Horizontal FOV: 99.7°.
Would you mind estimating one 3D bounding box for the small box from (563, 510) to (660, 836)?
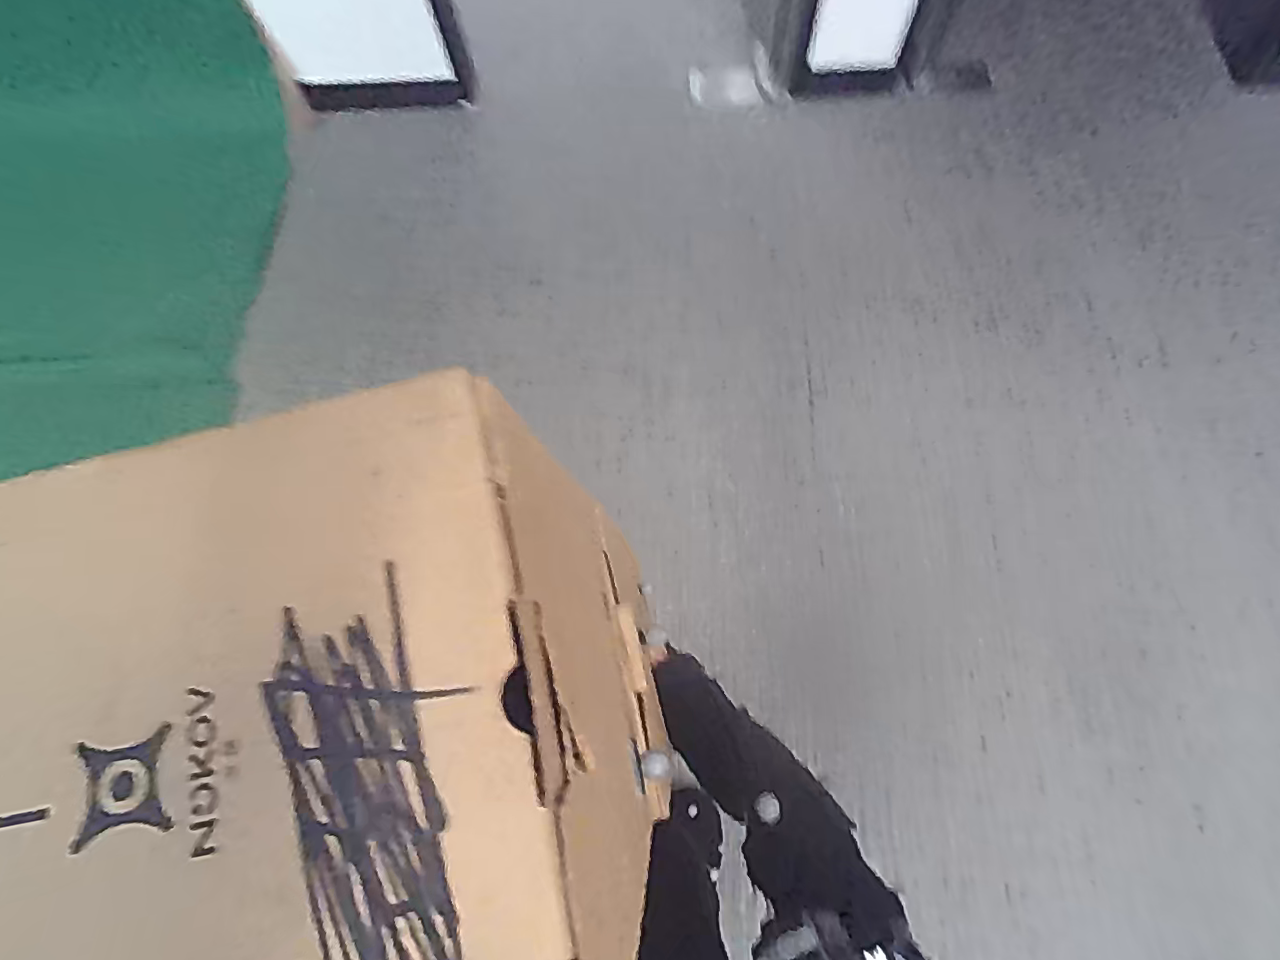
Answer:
[{"bbox_3d":[-0.088,0.127,0.355,0.179,0.176,0.168,-14,76,1],"label":"small box"}]

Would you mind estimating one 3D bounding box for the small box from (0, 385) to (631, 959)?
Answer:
[{"bbox_3d":[-0.104,0.090,0.195,0.179,0.176,0.168,-16,77,-1],"label":"small box"}]
